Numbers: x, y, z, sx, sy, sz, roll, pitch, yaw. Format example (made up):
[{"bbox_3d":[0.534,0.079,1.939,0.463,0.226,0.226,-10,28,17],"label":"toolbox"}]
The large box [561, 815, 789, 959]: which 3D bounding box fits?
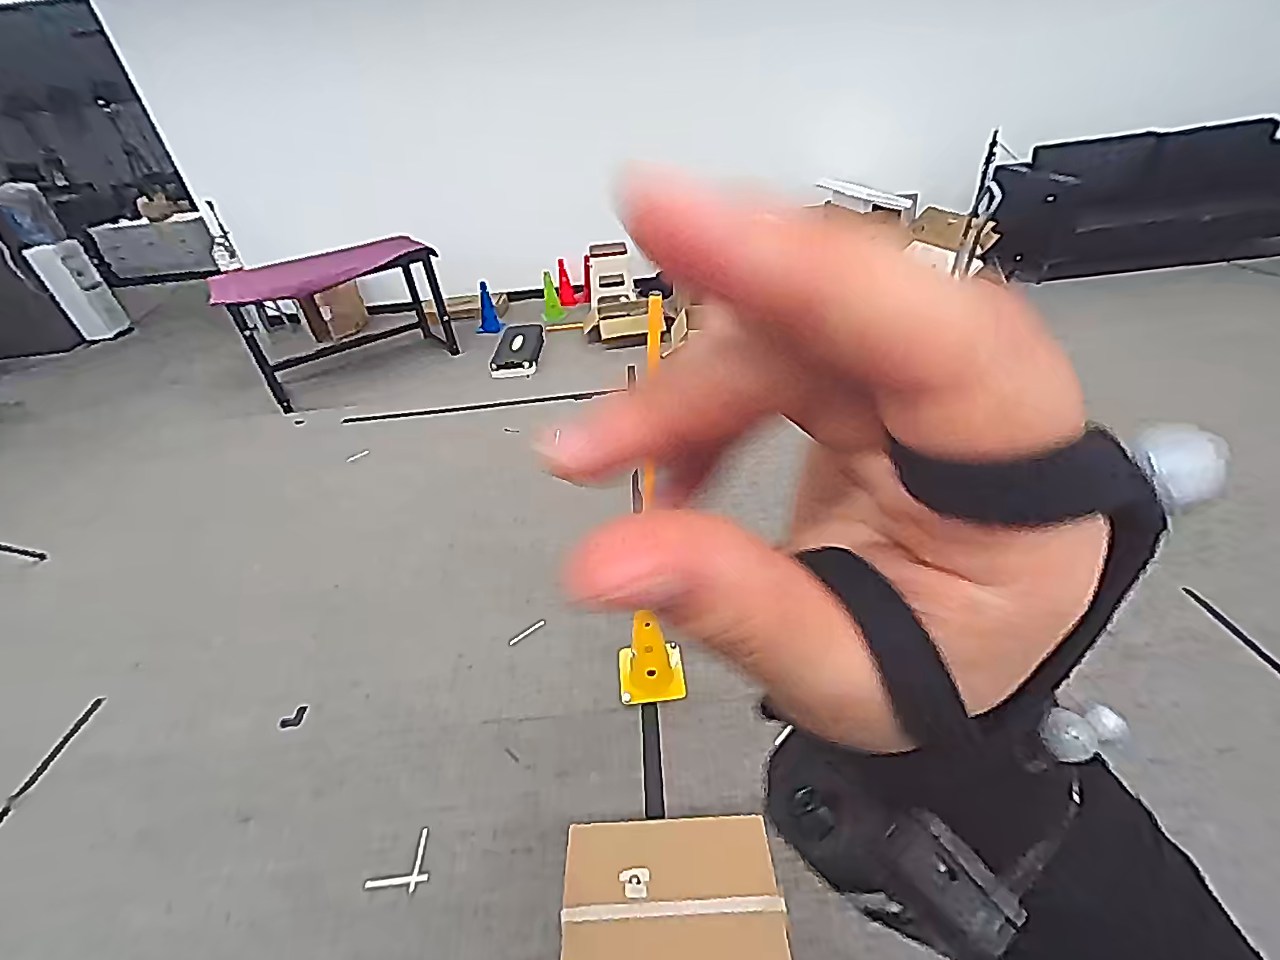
[{"bbox_3d":[0.067,0.922,1.081,0.408,0.320,0.320,-5,33,1],"label":"large box"}]
